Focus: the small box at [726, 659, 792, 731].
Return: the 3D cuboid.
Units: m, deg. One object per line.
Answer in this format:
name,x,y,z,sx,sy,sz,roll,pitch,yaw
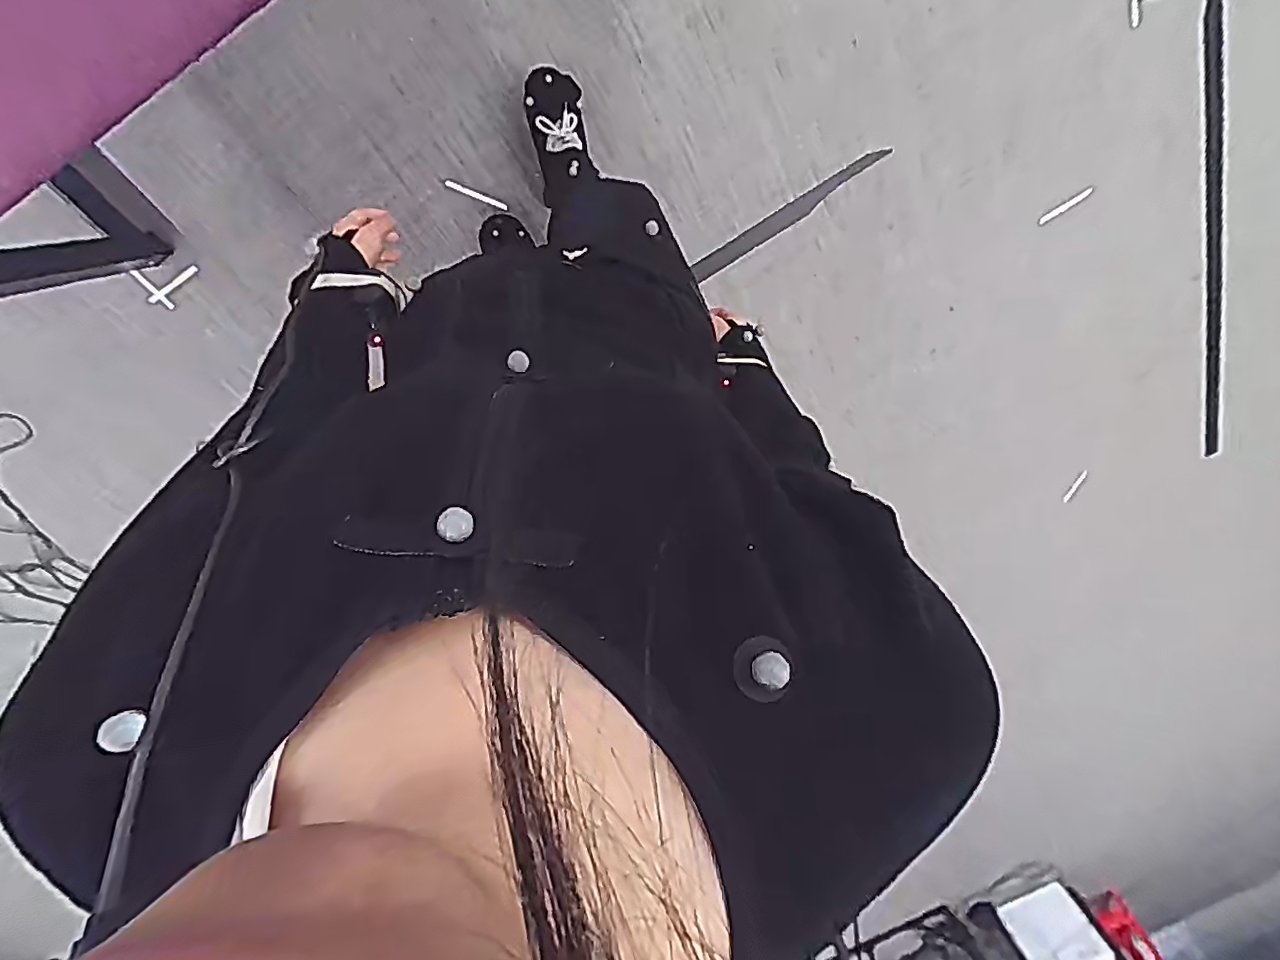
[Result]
small box,0.450,0.813,2.063,0.168,0.176,0.179,-29,120,6
